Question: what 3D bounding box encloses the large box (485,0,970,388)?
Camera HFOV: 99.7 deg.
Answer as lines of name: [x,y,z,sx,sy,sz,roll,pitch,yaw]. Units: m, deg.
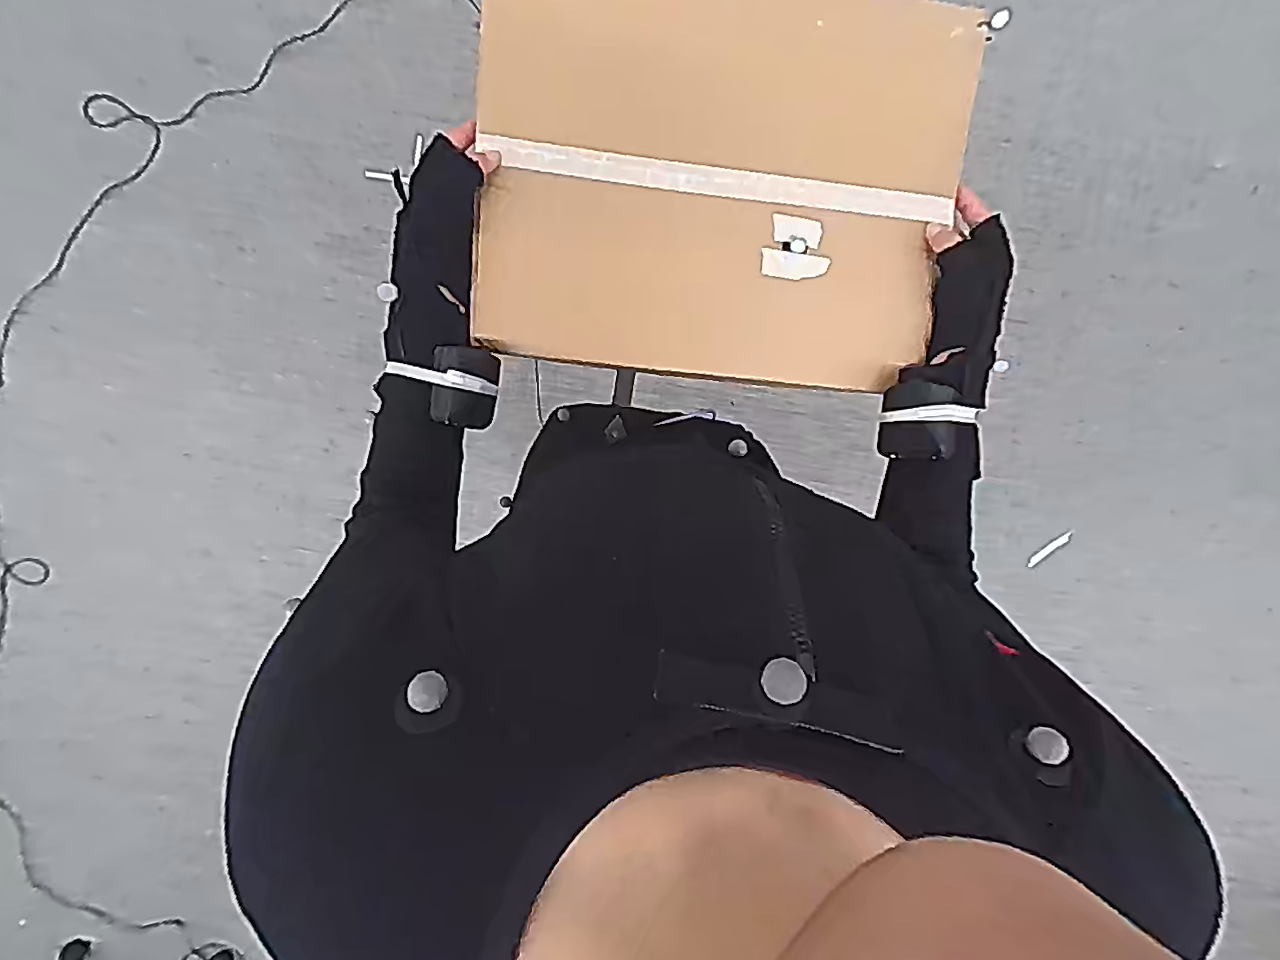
large box: [0.057,-0.280,0.610,0.408,0.320,0.320,5,102,-6]
